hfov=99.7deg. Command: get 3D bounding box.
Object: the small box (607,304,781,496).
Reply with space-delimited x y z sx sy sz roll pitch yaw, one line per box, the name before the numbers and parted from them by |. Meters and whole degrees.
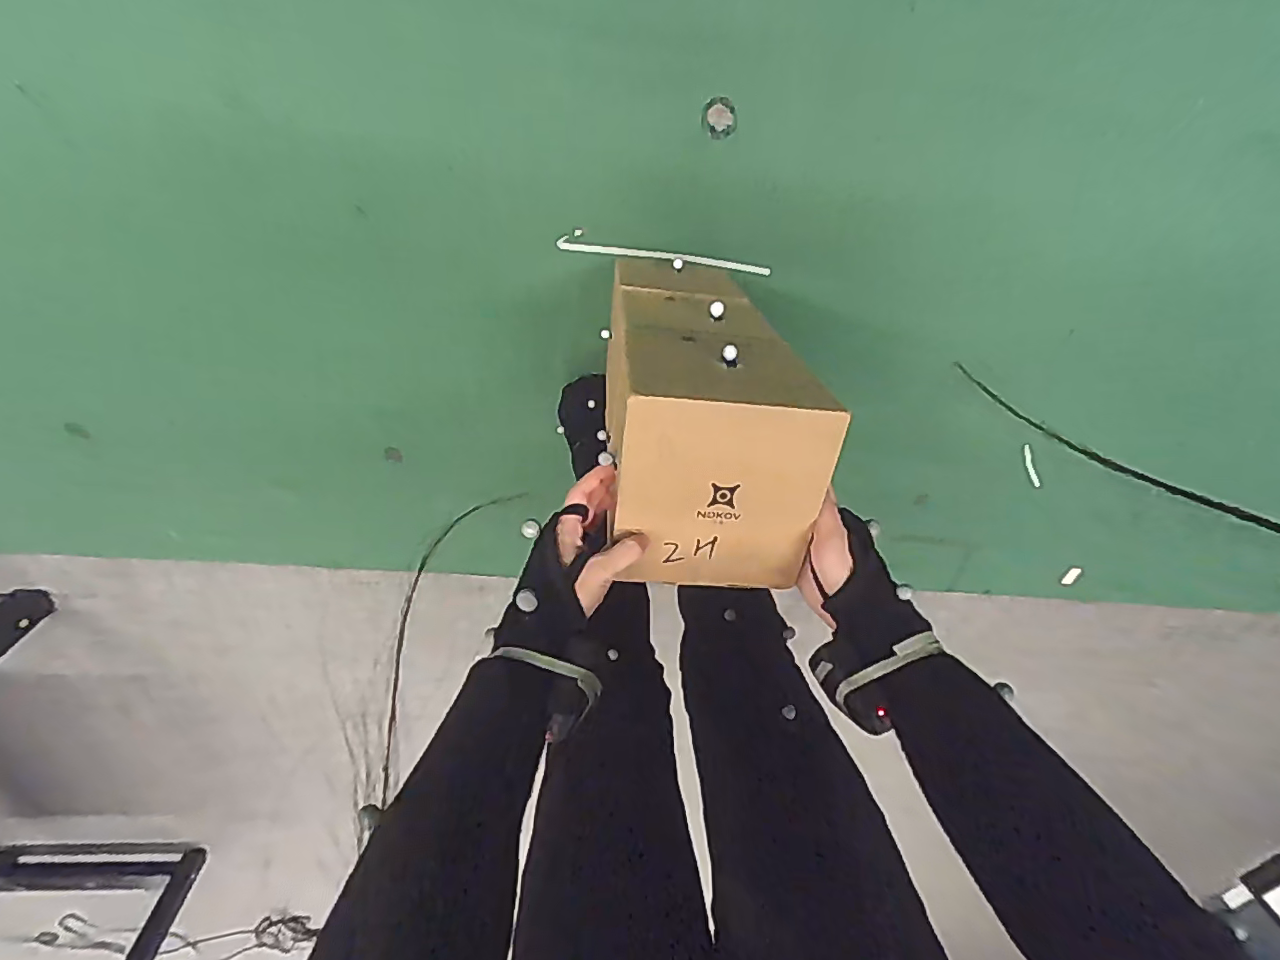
small box | 0.049 -0.100 0.644 0.168 0.176 0.179 3 123 -6
